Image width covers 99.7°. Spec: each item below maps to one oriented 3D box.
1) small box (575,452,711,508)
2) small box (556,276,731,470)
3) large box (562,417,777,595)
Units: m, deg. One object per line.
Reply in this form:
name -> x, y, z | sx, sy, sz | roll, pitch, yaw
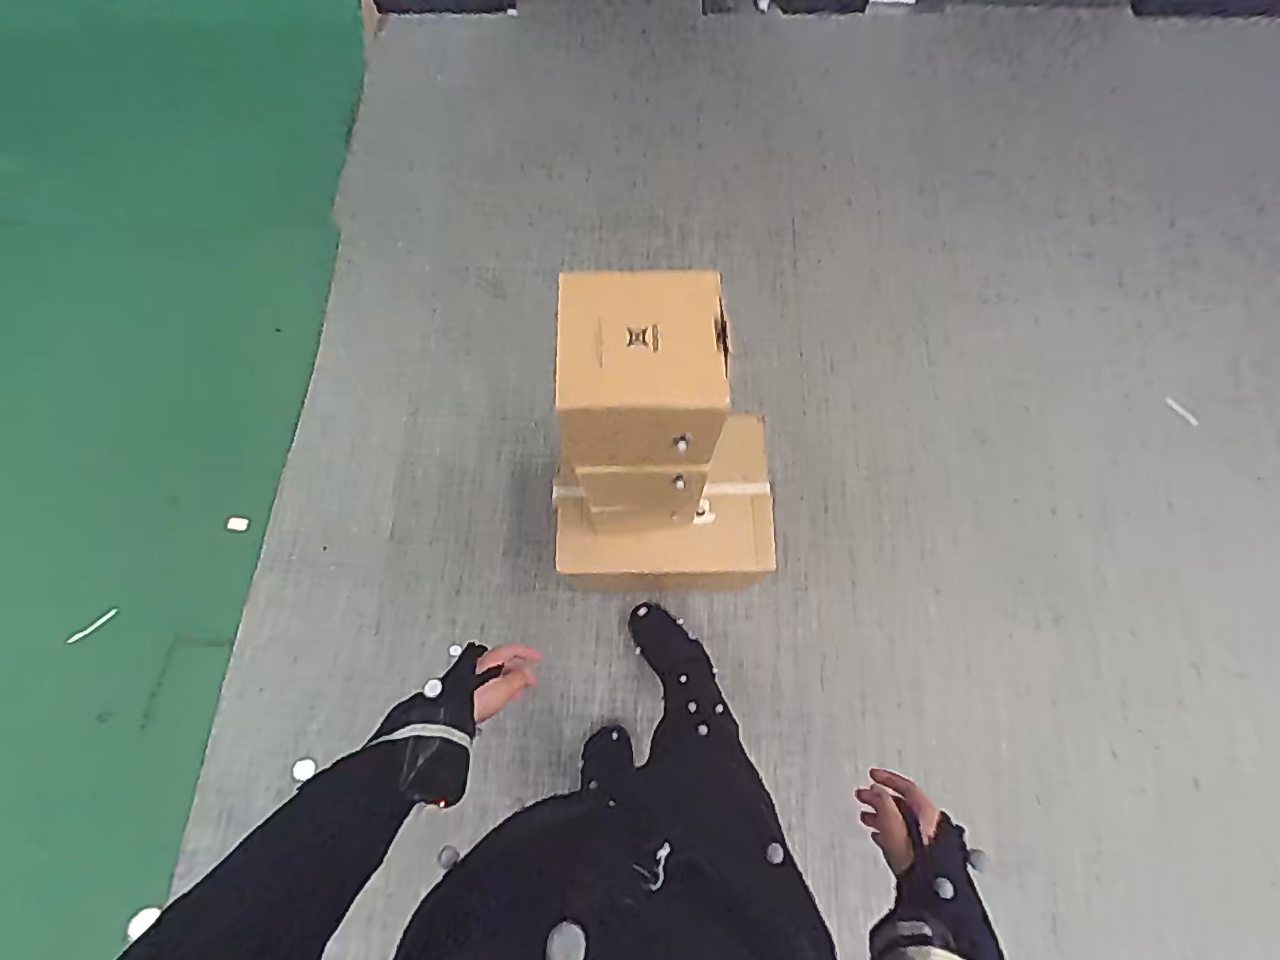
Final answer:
small box -> 0.003, -0.059, 0.788 | 0.179, 0.176, 0.168 | -2, 71, -1
small box -> 0.002, -0.116, 0.636 | 0.179, 0.176, 0.168 | -2, 70, 0
large box -> 0.048, 0.072, 1.173 | 0.408, 0.320, 0.320 | -1, 72, -1
